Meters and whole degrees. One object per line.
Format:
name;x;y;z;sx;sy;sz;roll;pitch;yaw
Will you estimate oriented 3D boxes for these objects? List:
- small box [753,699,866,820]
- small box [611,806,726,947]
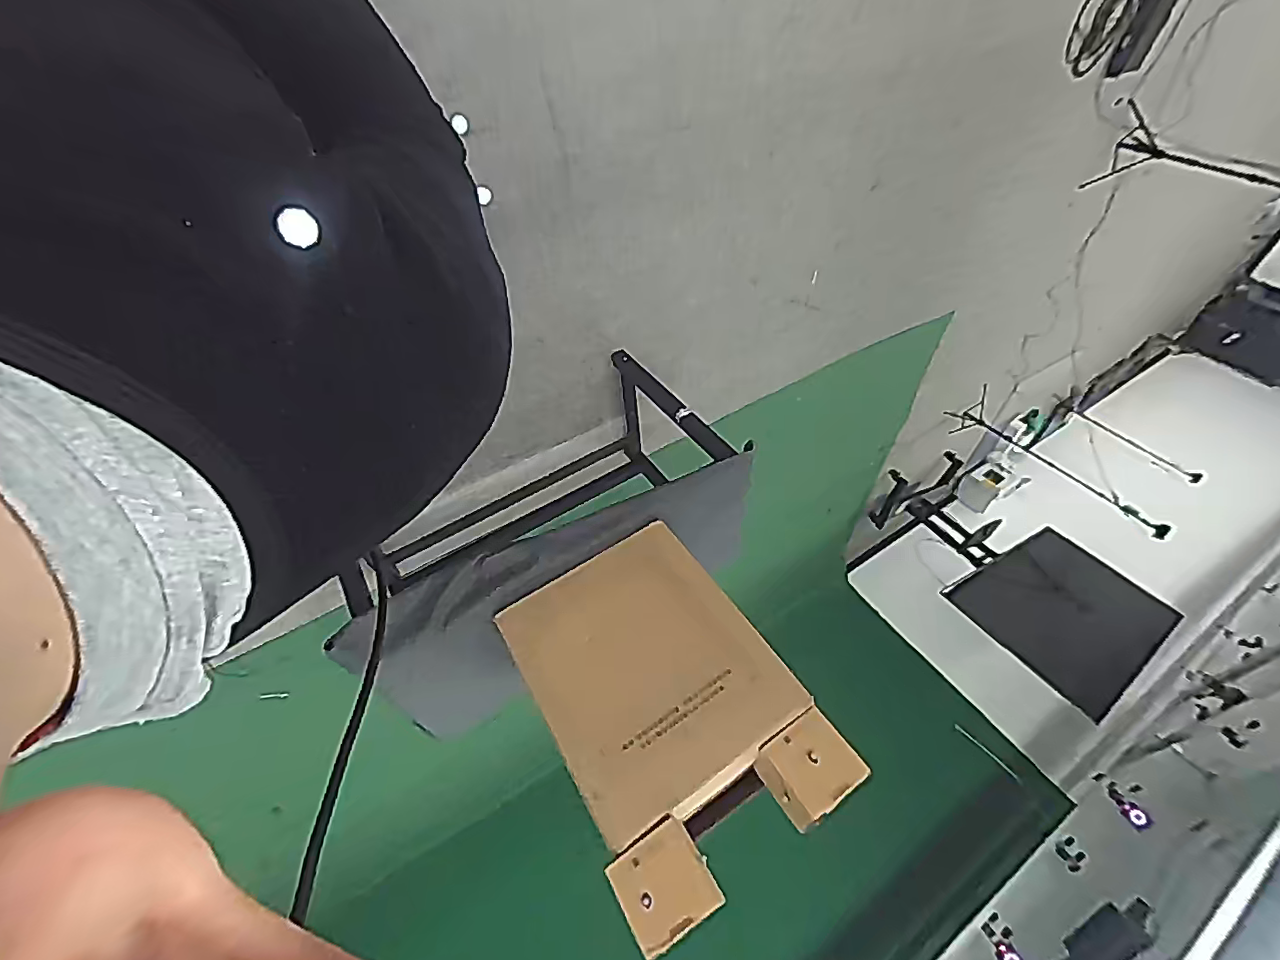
small box;0.379;0.636;1.243;0.168;0.176;0.179;-29;144;-19
small box;0.058;0.805;1.114;0.168;0.176;0.179;-32;146;-10
